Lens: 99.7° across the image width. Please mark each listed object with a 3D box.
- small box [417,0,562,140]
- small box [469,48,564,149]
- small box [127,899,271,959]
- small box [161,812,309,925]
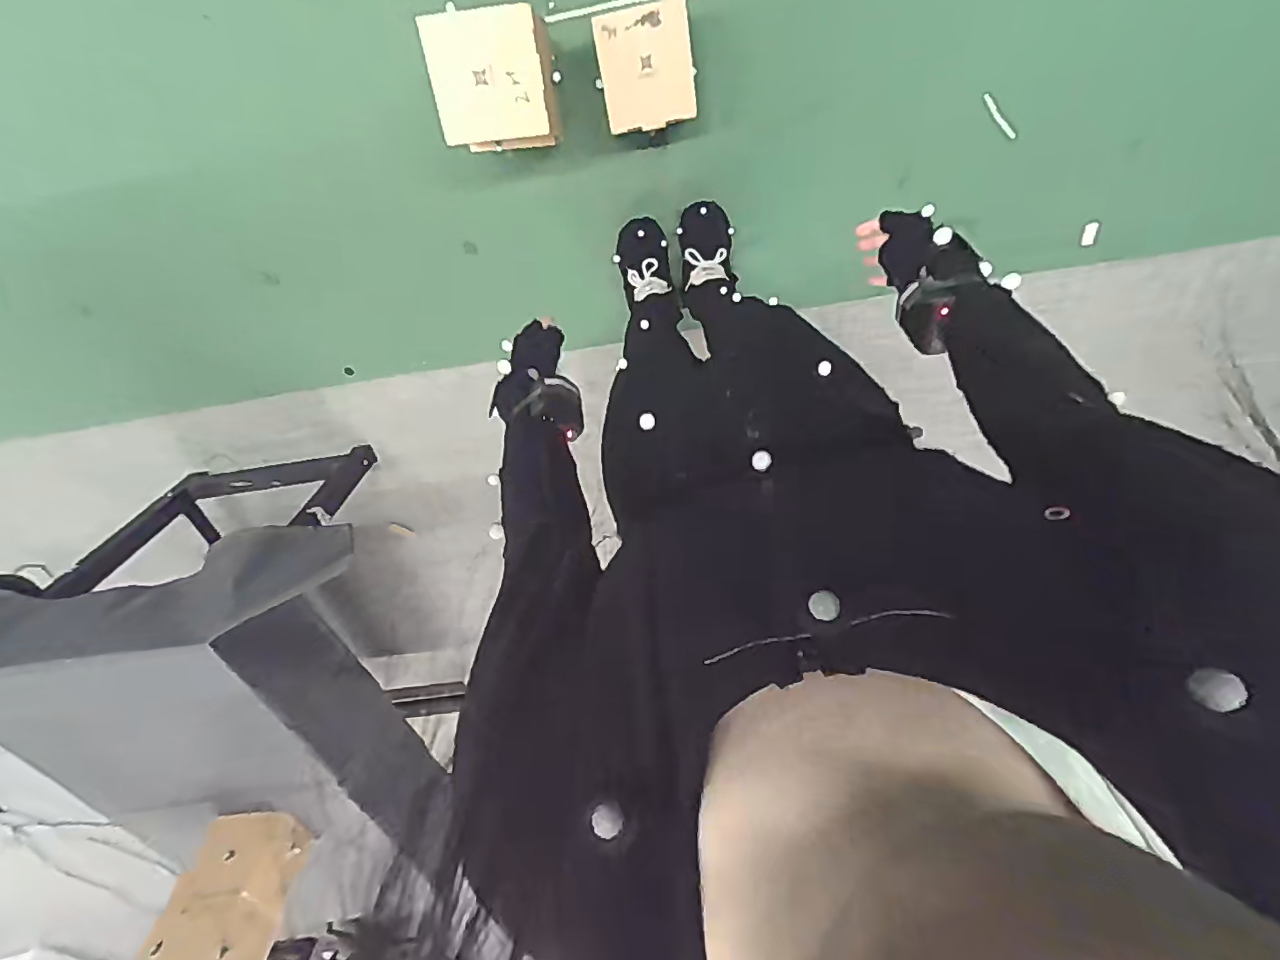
[{"bbox_3d":[-0.237,-0.671,0.901,0.179,0.176,0.168,-4,123,3],"label":"small box"},{"bbox_3d":[-0.246,-0.751,1.046,0.168,0.176,0.179,-3,122,2],"label":"small box"},{"bbox_3d":[-0.909,0.979,1.097,0.168,0.176,0.179,-9,123,6],"label":"small box"},{"bbox_3d":[-0.908,0.886,1.231,0.179,0.176,0.168,-8,123,4],"label":"small box"}]
